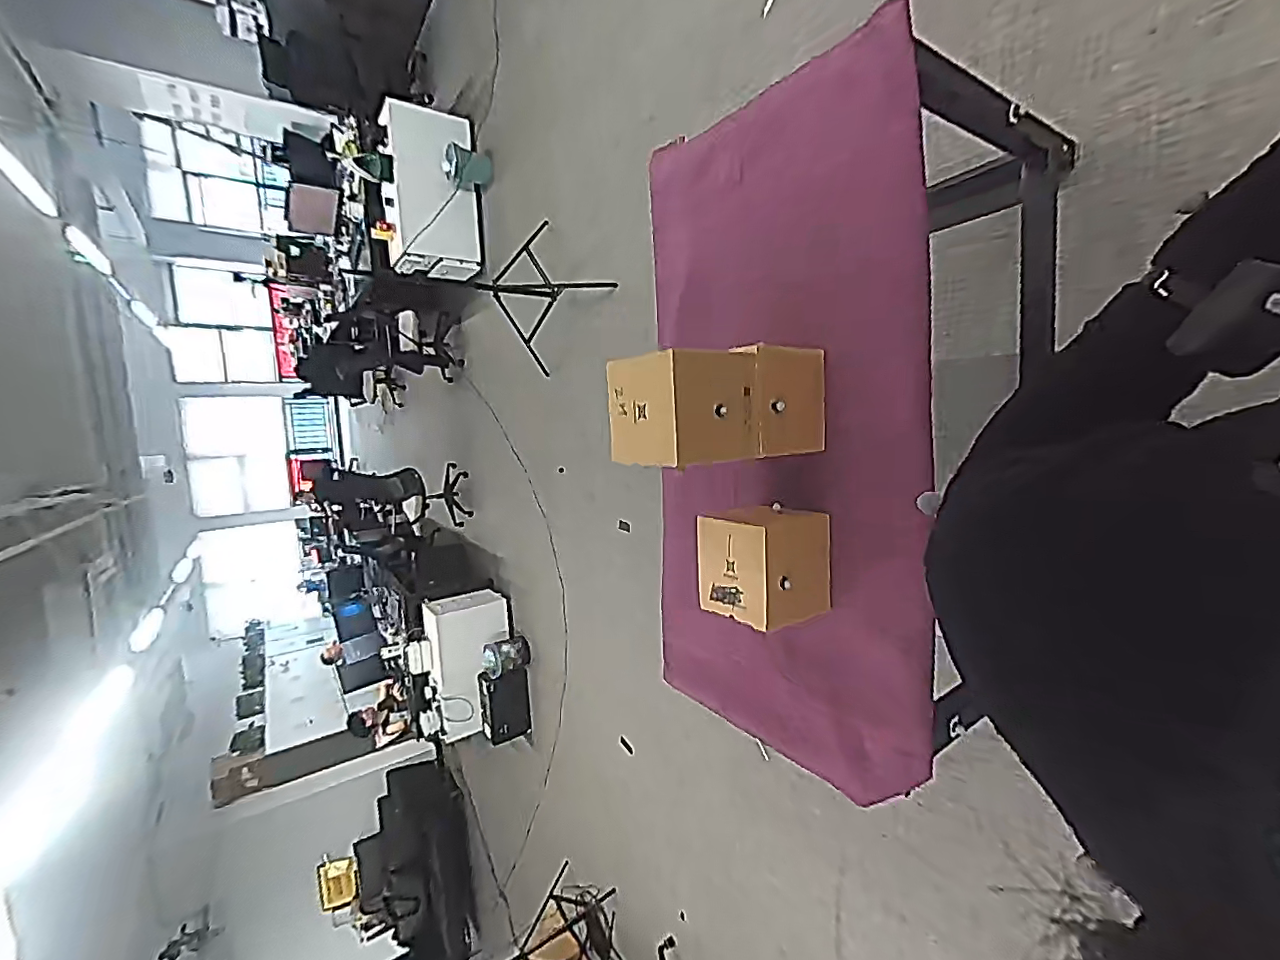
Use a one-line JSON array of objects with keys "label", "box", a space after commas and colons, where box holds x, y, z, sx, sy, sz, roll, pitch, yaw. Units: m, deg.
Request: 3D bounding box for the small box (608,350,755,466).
[{"label": "small box", "box": [0.069, -0.116, 0.864, 0.179, 0.176, 0.168, 8, 102, 55]}]

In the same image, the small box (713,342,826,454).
[{"label": "small box", "box": [0.208, -0.140, 0.949, 0.168, 0.176, 0.179, 7, 102, 55]}]

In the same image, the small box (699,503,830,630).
[{"label": "small box", "box": [0.225, 0.144, 0.973, 0.168, 0.176, 0.179, 6, 100, 55]}]
